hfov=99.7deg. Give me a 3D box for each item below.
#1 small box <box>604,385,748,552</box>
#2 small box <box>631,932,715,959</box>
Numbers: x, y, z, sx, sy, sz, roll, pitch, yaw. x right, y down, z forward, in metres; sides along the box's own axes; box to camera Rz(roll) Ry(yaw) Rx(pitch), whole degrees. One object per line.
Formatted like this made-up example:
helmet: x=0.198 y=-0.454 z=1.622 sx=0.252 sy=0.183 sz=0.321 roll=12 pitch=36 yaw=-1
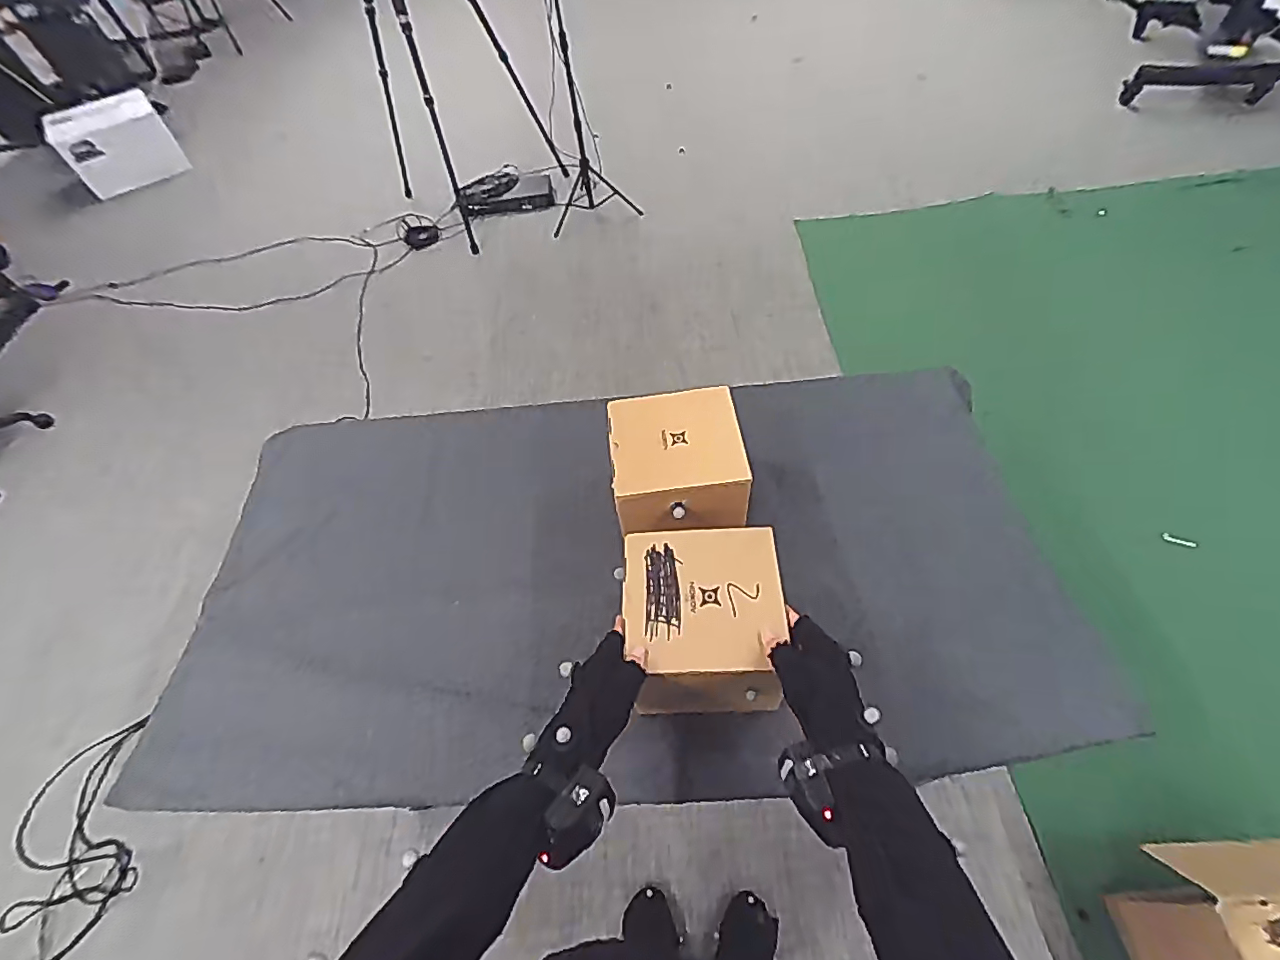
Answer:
small box: x=0.049 y=-0.011 z=0.782 sx=0.179 sy=0.176 sz=0.168 roll=-8 pitch=55 yaw=2
small box: x=0.061 y=0.989 z=1.011 sx=0.168 sy=0.176 sz=0.179 roll=12 pitch=59 yaw=1
